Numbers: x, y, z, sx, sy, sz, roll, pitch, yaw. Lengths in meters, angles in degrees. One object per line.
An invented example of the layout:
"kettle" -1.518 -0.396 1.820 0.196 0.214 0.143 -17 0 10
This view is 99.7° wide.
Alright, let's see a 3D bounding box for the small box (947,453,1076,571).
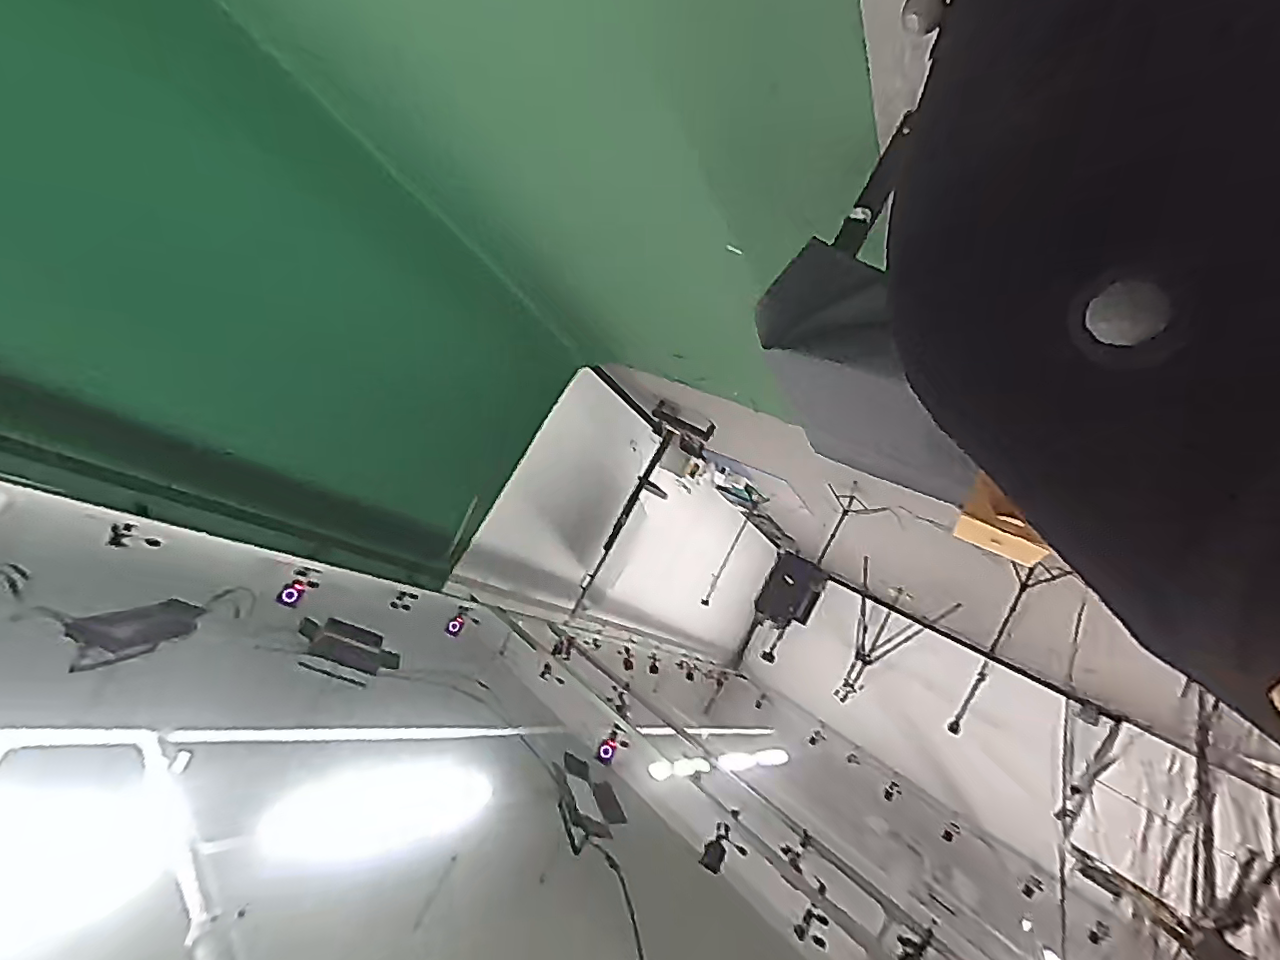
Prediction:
"small box" 0.784 0.068 1.152 0.168 0.176 0.179 28 173 30
